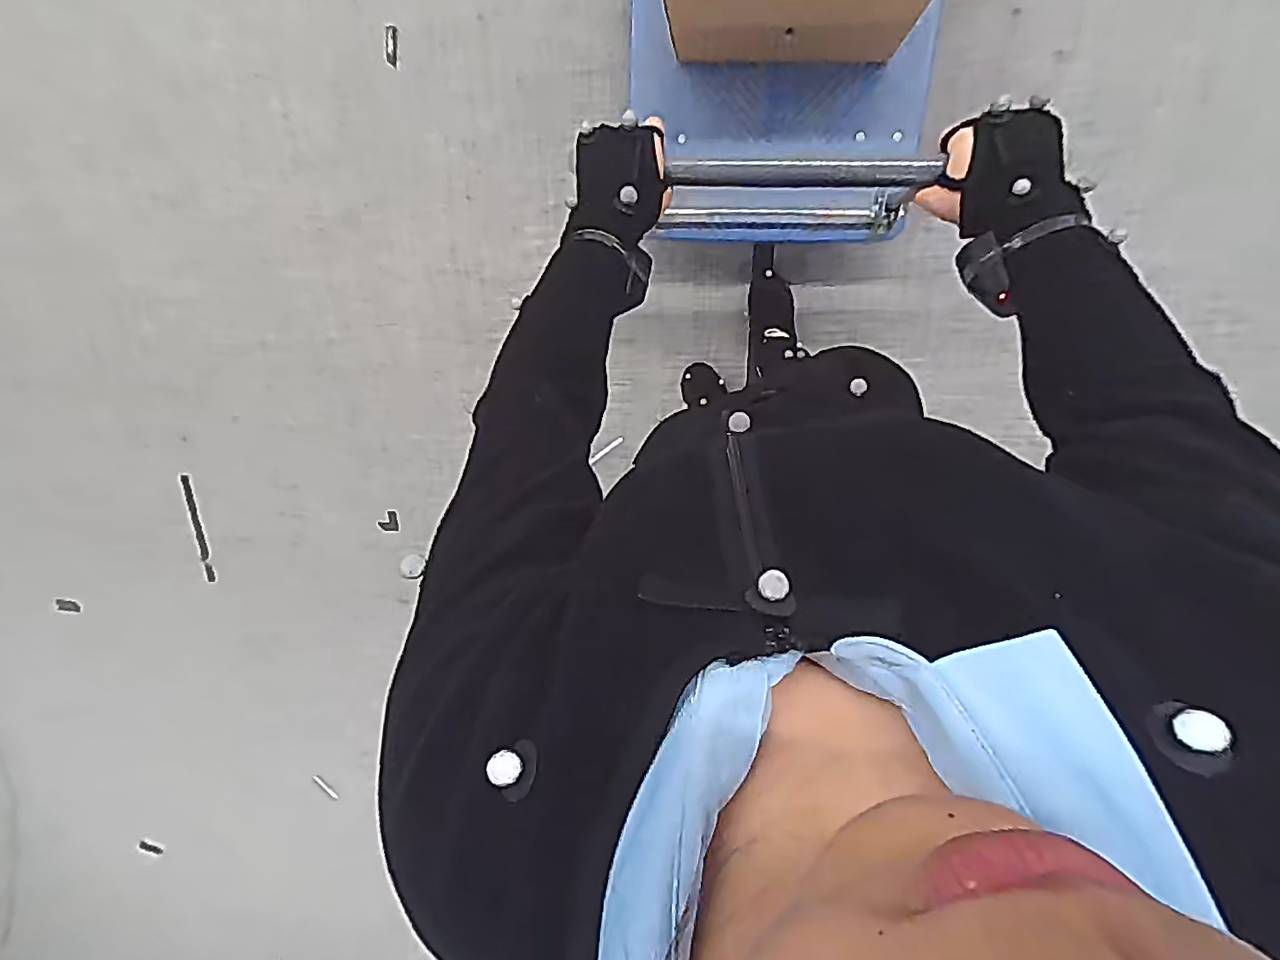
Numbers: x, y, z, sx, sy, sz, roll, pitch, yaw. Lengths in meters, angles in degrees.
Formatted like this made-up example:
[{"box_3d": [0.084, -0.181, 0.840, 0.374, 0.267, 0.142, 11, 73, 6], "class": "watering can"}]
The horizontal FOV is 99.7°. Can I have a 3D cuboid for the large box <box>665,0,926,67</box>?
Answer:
[{"box_3d": [0.258, -0.913, 0.877, 0.408, 0.320, 0.320, 5, 109, 8], "class": "large box"}]
